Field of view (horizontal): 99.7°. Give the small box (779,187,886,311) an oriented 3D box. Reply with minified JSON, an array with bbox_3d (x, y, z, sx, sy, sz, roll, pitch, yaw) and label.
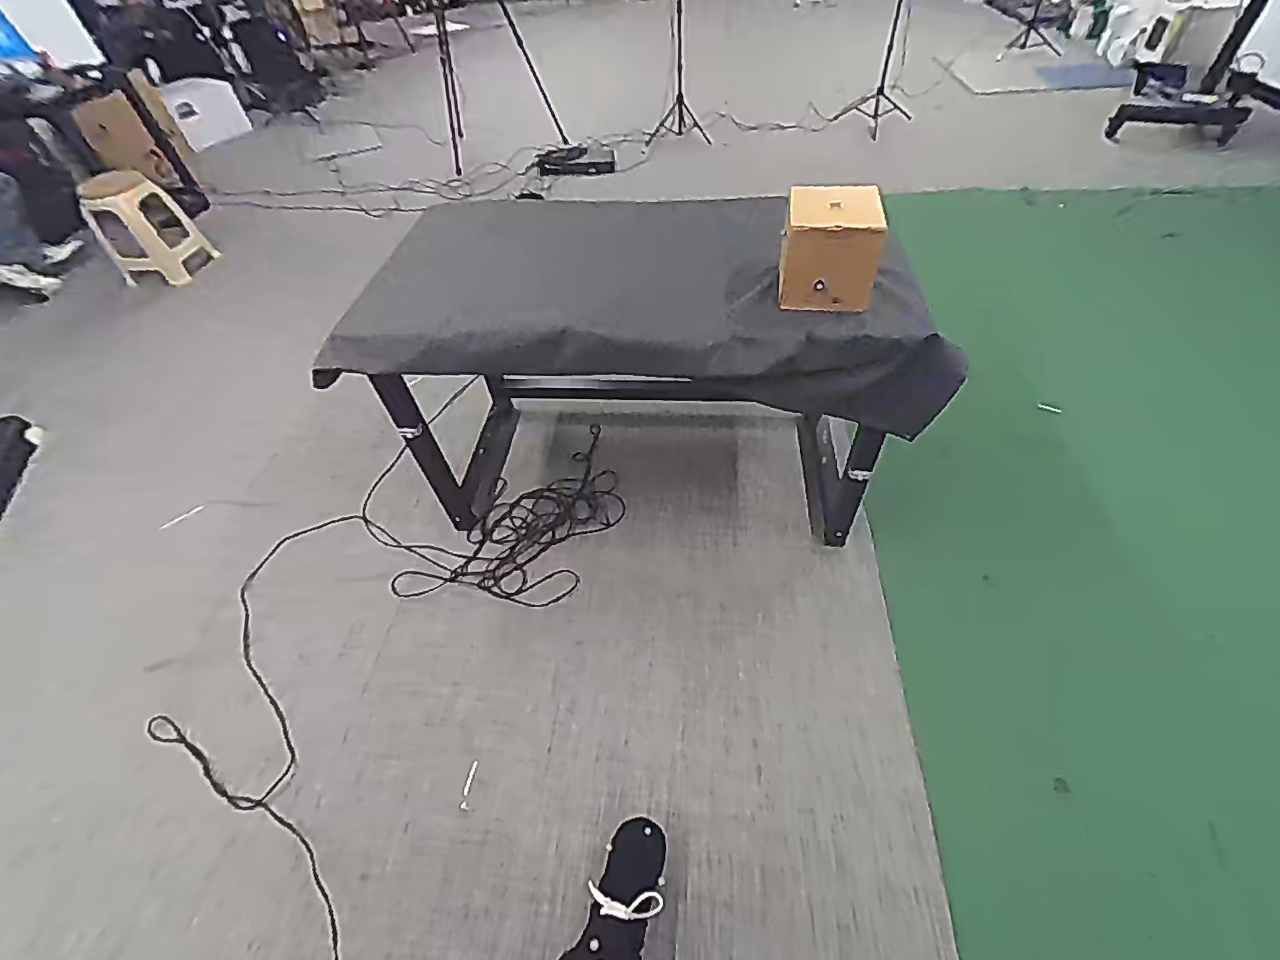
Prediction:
[{"bbox_3d":[0.367,-0.454,1.062,0.168,0.176,0.179,4,50,9],"label":"small box"}]
